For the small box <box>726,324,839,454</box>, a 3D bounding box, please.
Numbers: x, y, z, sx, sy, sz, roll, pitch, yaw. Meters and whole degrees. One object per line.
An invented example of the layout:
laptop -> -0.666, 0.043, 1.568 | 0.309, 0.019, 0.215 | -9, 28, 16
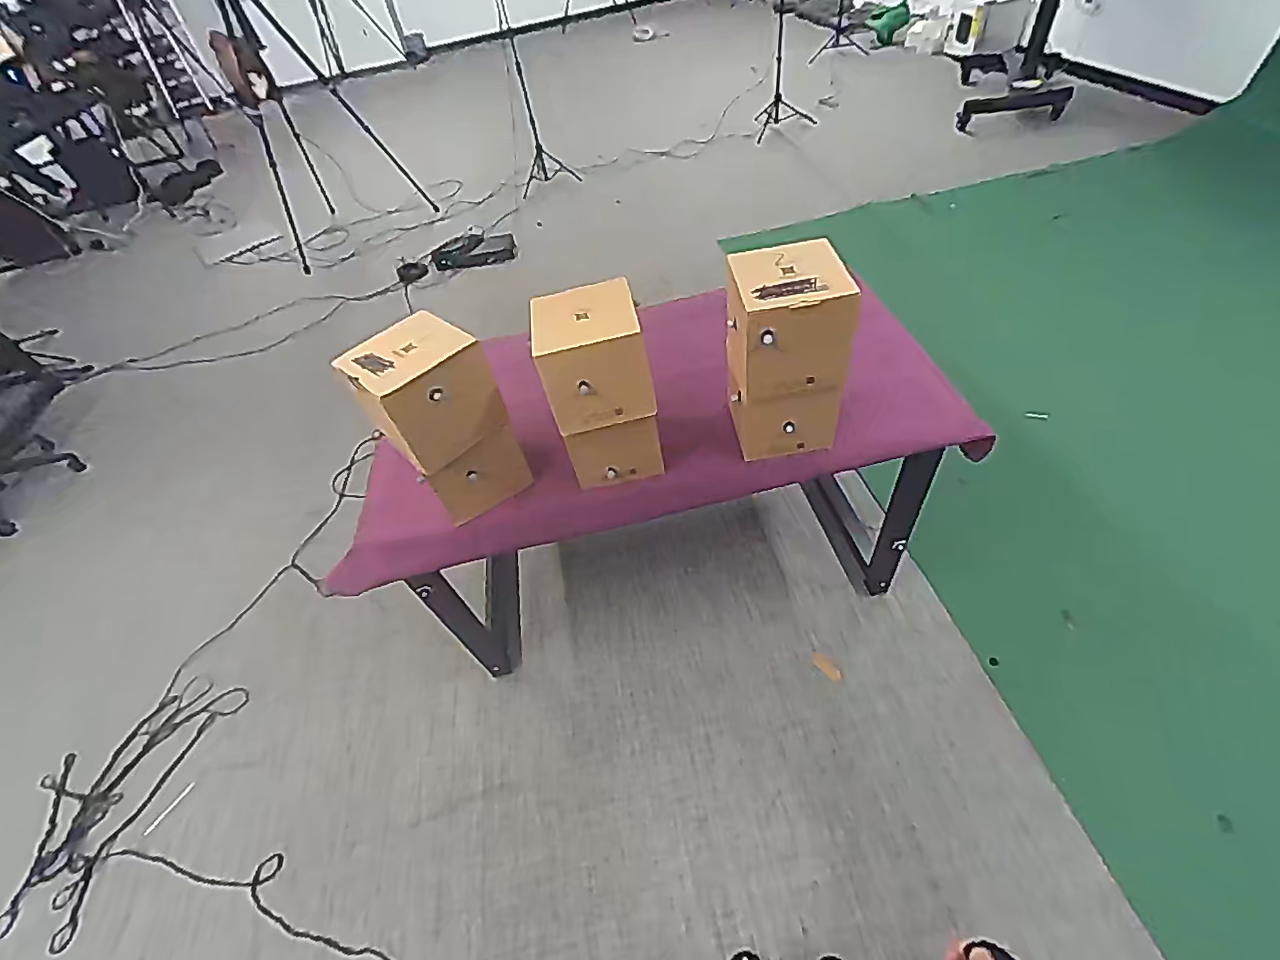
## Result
small box -> 0.260, -0.164, 1.020 | 0.168, 0.176, 0.179 | -8, 49, 3

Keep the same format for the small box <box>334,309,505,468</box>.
small box -> -0.356, -0.151, 0.900 | 0.168, 0.176, 0.179 | 32, 60, 32

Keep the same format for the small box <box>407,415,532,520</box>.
small box -> -0.335, -0.055, 1.033 | 0.179, 0.176, 0.168 | -32, 51, -17

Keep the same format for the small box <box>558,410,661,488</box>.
small box -> -0.059, -0.112, 1.035 | 0.168, 0.176, 0.179 | -12, 48, 1

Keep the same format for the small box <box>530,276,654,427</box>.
small box -> -0.078, -0.207, 0.903 | 0.168, 0.176, 0.179 | -13, 47, 1
